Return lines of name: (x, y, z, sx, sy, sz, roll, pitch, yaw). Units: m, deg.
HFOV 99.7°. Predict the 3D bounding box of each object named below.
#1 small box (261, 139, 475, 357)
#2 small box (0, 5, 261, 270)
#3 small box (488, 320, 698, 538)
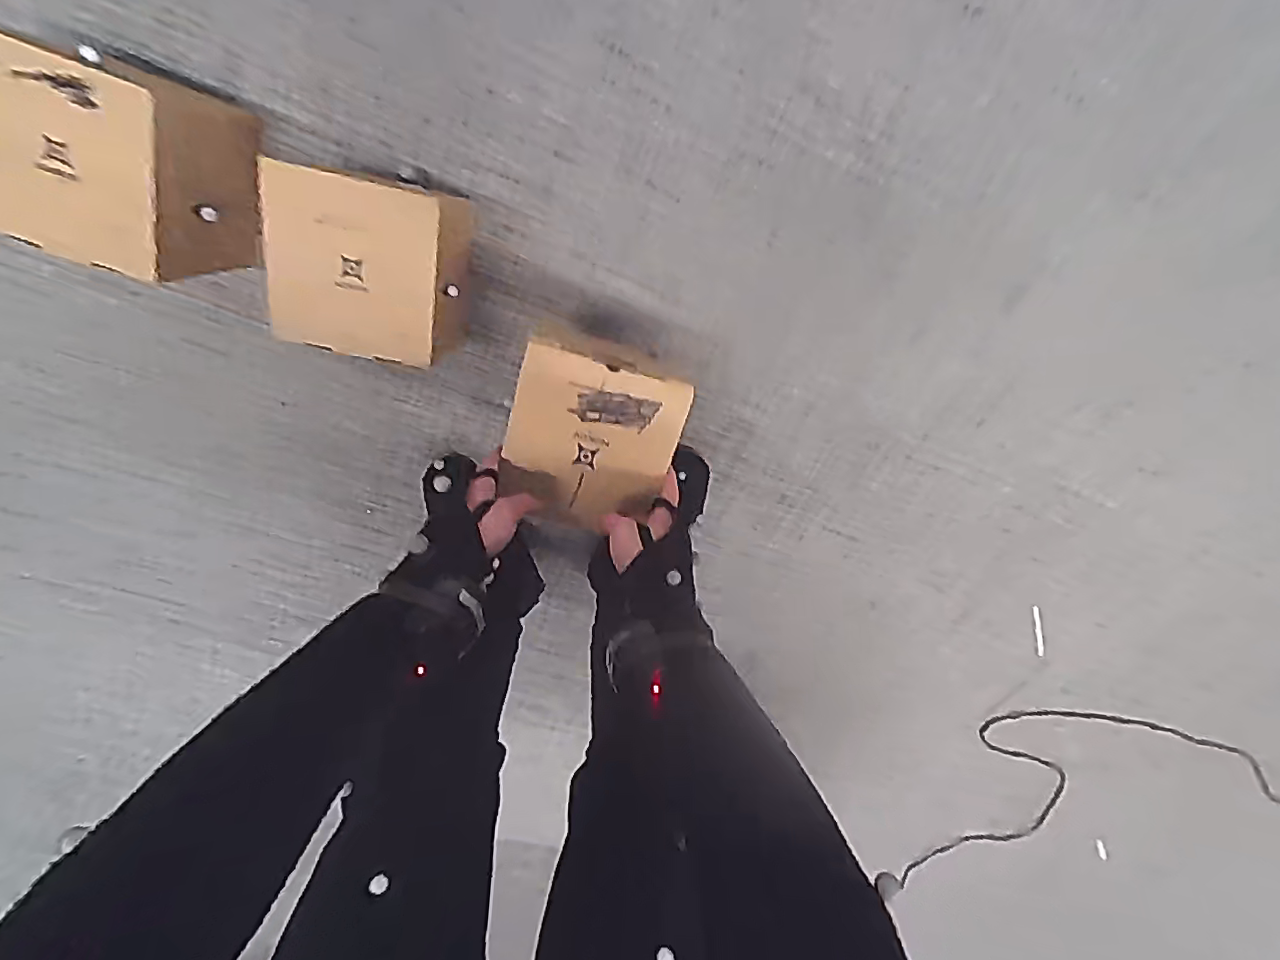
small box: (-0.293, -0.259, 0.616, 0.168, 0.176, 0.179, 10, 115, -9)
small box: (-0.530, -0.343, 0.563, 0.168, 0.176, 0.179, 18, 115, -11)
small box: (-0.053, -0.066, 0.593, 0.168, 0.176, 0.179, 16, 109, -9)
